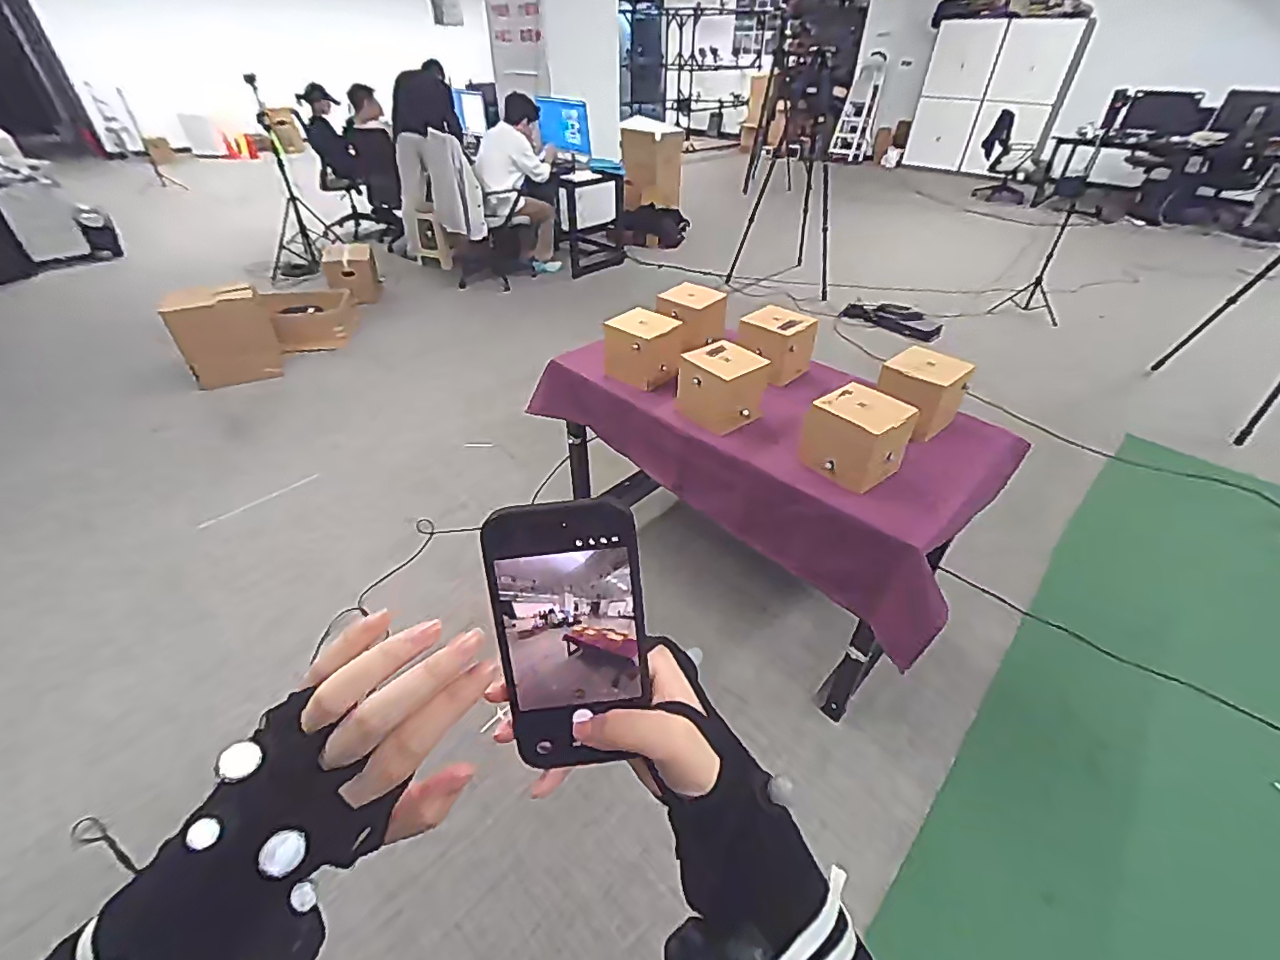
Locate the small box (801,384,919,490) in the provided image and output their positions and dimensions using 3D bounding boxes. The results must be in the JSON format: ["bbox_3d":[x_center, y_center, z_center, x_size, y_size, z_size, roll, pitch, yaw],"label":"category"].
[{"bbox_3d":[0.508,-0.097,1.271,0.168,0.176,0.179,-25,46,-29],"label":"small box"}]

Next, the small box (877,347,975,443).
[{"bbox_3d":[0.742,-0.226,1.436,0.179,0.176,0.168,-29,47,-31],"label":"small box"}]

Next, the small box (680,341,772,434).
[{"bbox_3d":[0.223,-0.248,1.454,0.168,0.176,0.179,-26,47,-30],"label":"small box"}]

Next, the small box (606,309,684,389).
[{"bbox_3d":[0.012,-0.395,1.633,0.179,0.176,0.168,28,46,28],"label":"small box"}]
